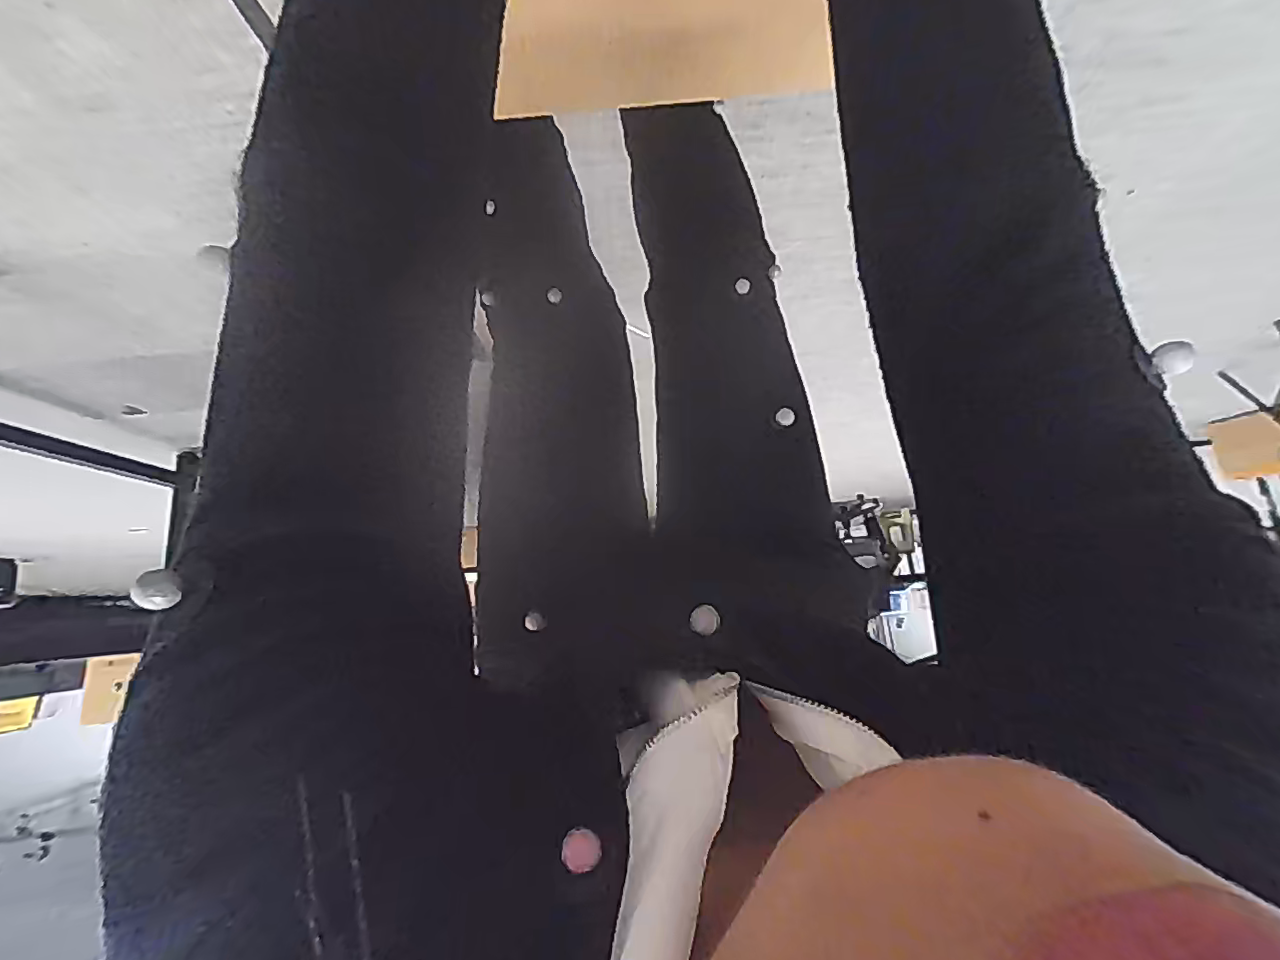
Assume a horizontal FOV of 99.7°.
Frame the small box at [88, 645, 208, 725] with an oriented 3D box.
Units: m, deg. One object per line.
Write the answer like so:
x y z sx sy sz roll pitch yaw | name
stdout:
-1.307 0.543 1.448 0.168 0.176 0.179 -5 167 -1 | small box
